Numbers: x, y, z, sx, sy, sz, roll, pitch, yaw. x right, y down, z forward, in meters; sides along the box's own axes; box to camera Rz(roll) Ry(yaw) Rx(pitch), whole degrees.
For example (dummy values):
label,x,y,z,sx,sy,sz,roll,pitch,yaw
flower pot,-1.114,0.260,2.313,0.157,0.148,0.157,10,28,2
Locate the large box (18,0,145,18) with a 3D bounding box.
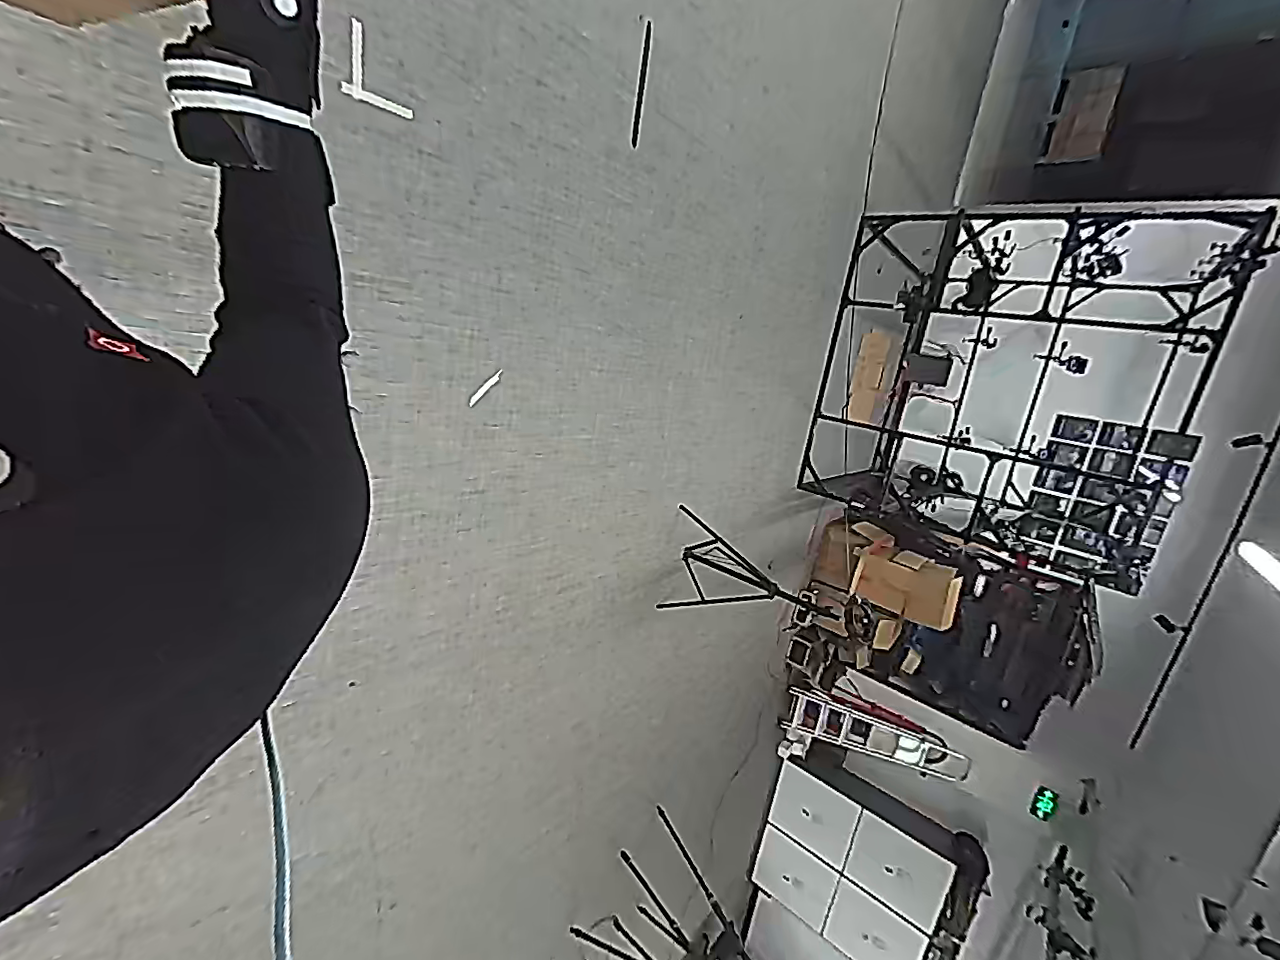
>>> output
label,x,y,z,sx,sy,sz,roll,pitch,yaw
large box,-0.483,-0.480,0.219,0.408,0.320,0.320,-15,124,-55
